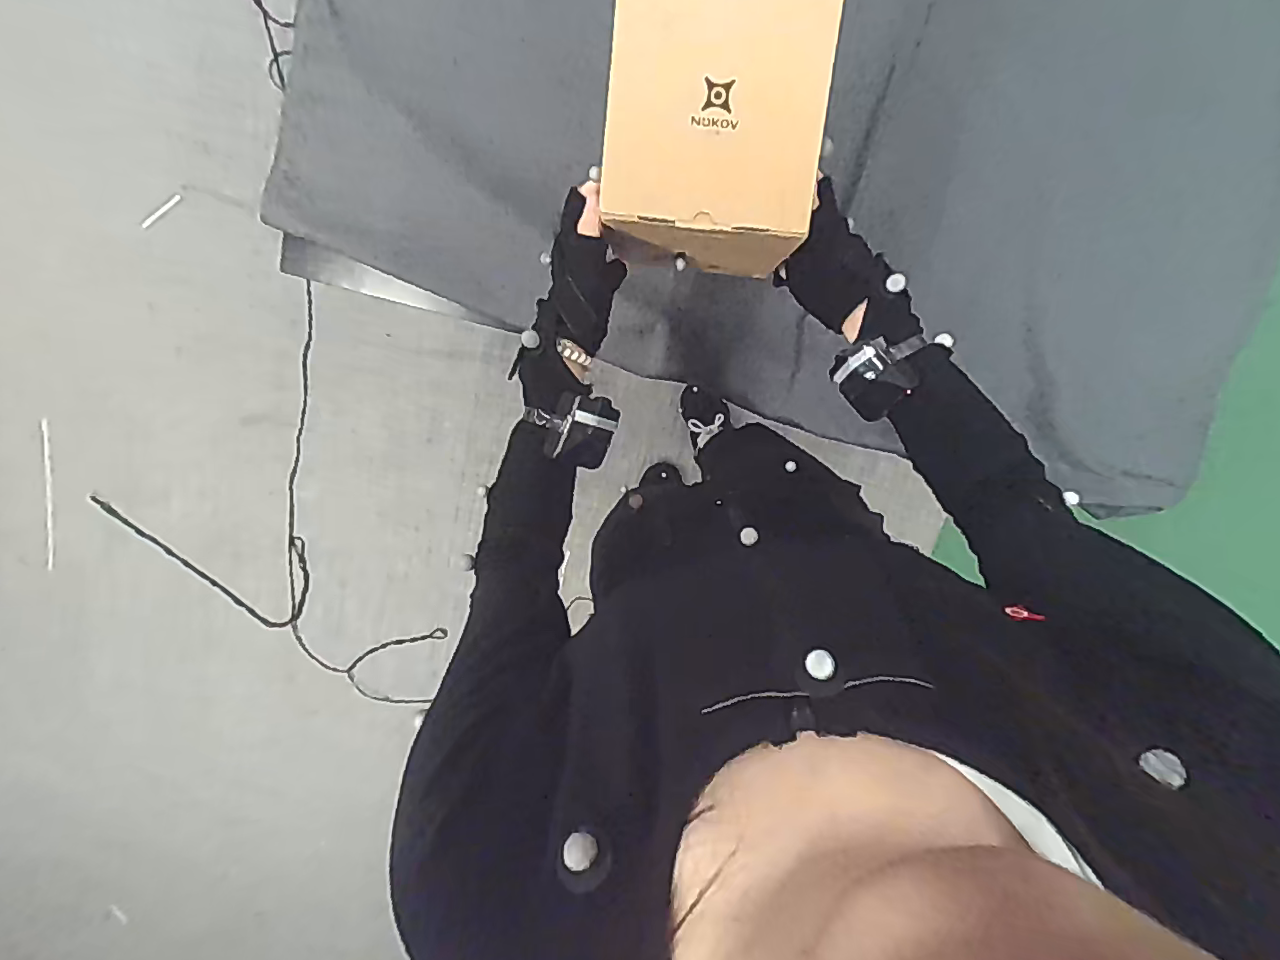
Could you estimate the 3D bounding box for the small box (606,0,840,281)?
[{"bbox_3d":[0.064,-0.297,0.501,0.168,0.176,0.179,6,102,1],"label":"small box"}]
